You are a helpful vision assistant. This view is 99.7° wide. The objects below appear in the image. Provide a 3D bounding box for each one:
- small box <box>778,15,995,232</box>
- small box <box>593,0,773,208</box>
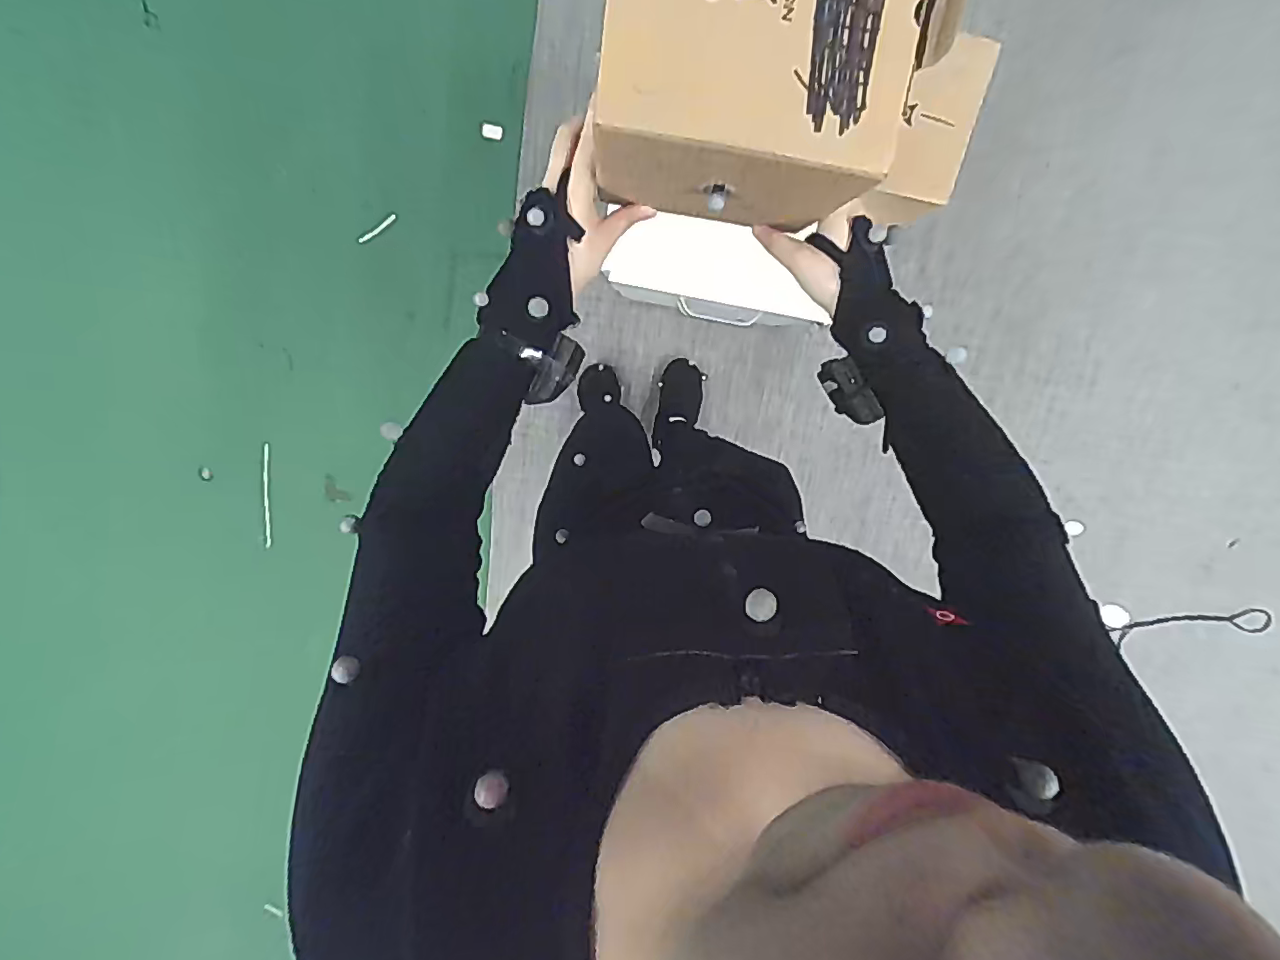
[{"bbox_3d":[0.289,-0.429,0.684,0.179,0.176,0.168,13,105,-1],"label":"small box"},{"bbox_3d":[0.047,-0.462,0.684,0.179,0.176,0.168,11,105,-1],"label":"small box"}]
